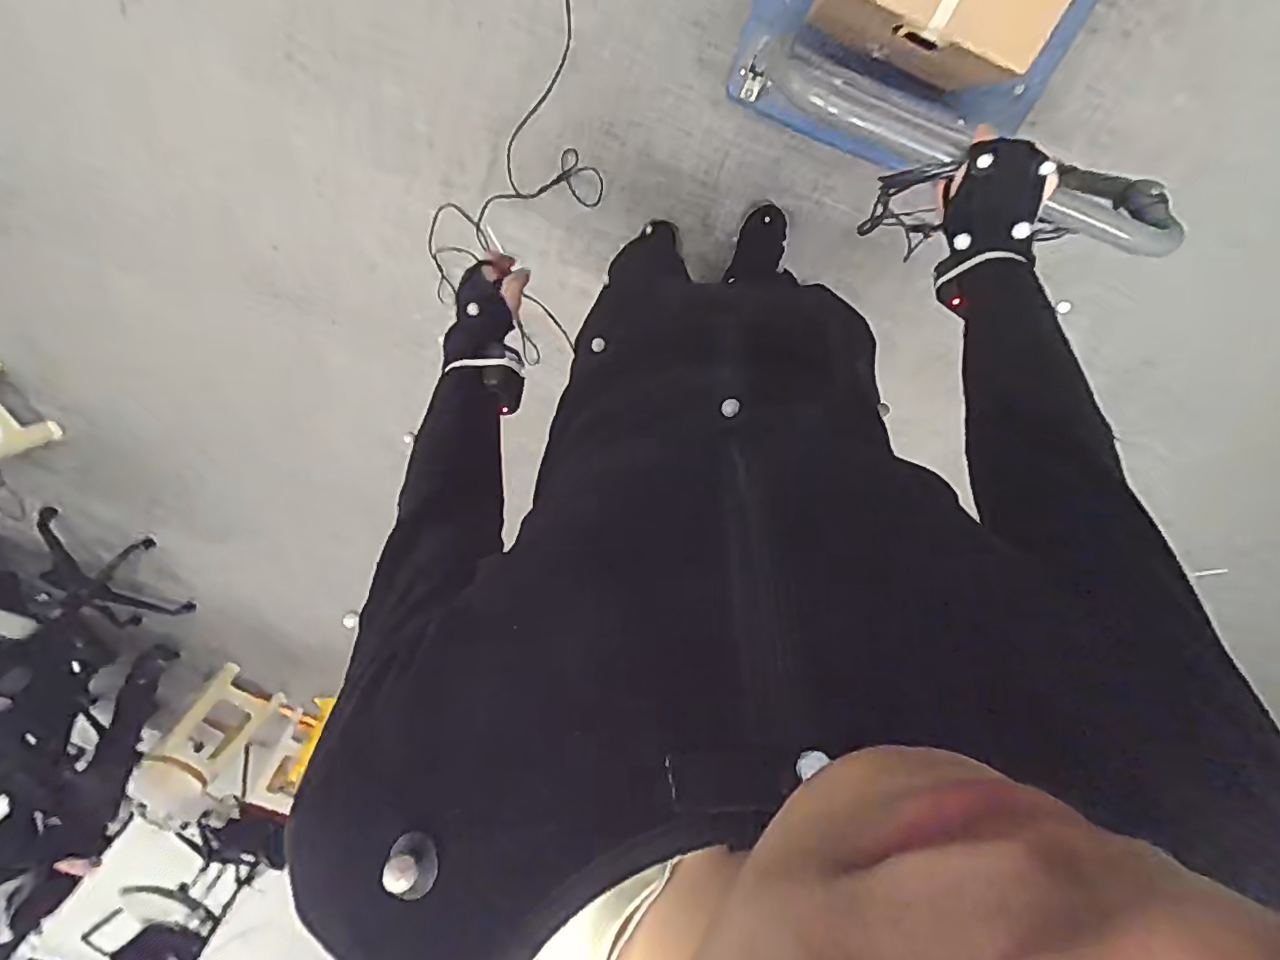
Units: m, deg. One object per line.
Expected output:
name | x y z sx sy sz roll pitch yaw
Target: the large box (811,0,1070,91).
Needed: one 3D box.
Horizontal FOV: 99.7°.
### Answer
large box | 0.502 -0.873 0.796 0.320 0.320 0.408 21 122 -6
